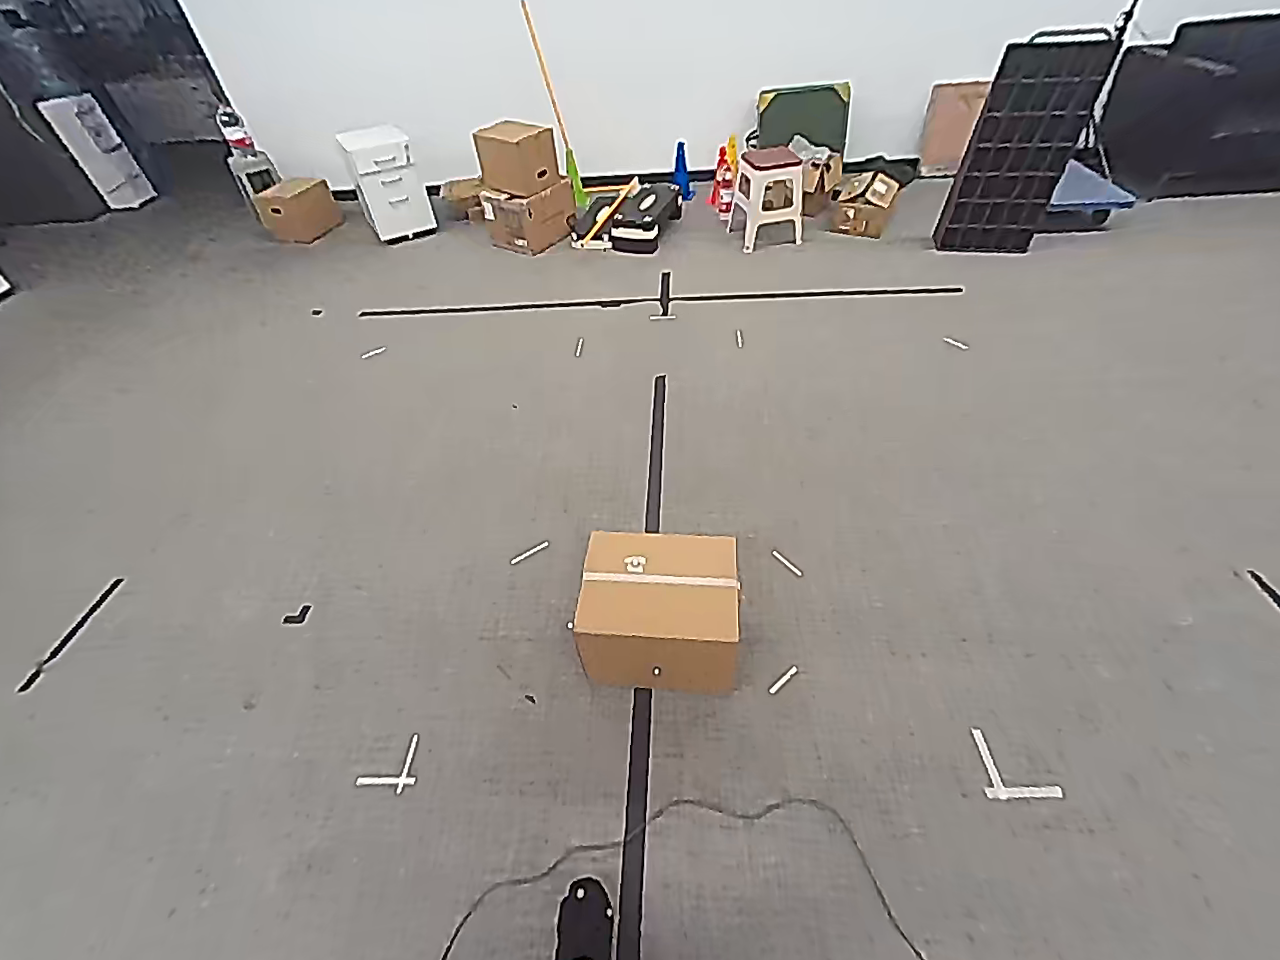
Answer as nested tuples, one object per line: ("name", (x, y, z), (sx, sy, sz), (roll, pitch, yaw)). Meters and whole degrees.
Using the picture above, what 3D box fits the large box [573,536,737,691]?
("large box", (0.058, 0.373, 1.509), (0.408, 0.320, 0.320), (1, 46, 7))
